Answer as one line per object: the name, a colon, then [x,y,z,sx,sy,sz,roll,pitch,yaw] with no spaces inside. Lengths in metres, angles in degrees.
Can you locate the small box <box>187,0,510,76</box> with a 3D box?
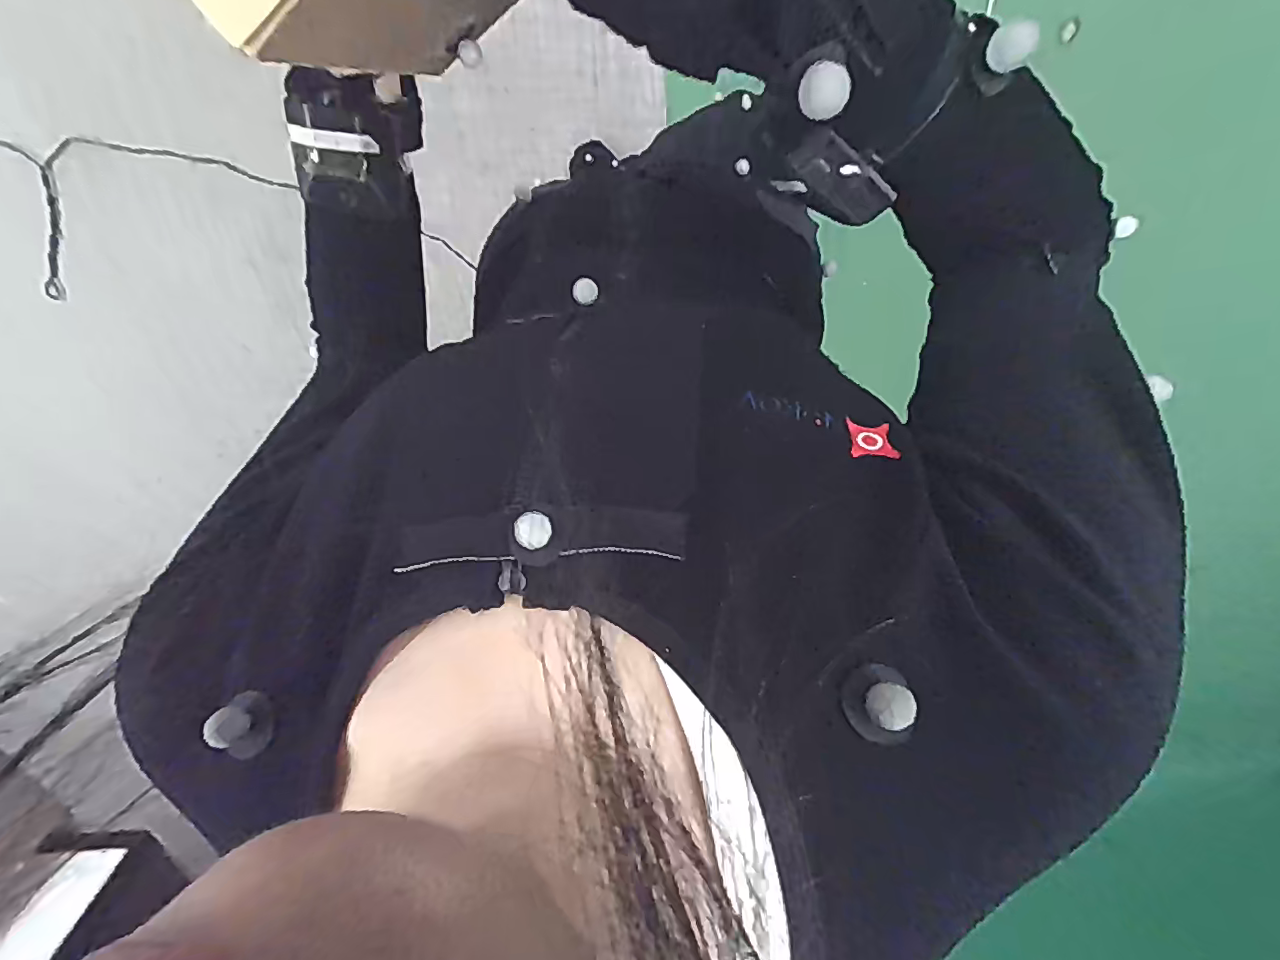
small box: [-0.105,-0.279,0.183,0.168,0.176,0.179,-26,117,21]
